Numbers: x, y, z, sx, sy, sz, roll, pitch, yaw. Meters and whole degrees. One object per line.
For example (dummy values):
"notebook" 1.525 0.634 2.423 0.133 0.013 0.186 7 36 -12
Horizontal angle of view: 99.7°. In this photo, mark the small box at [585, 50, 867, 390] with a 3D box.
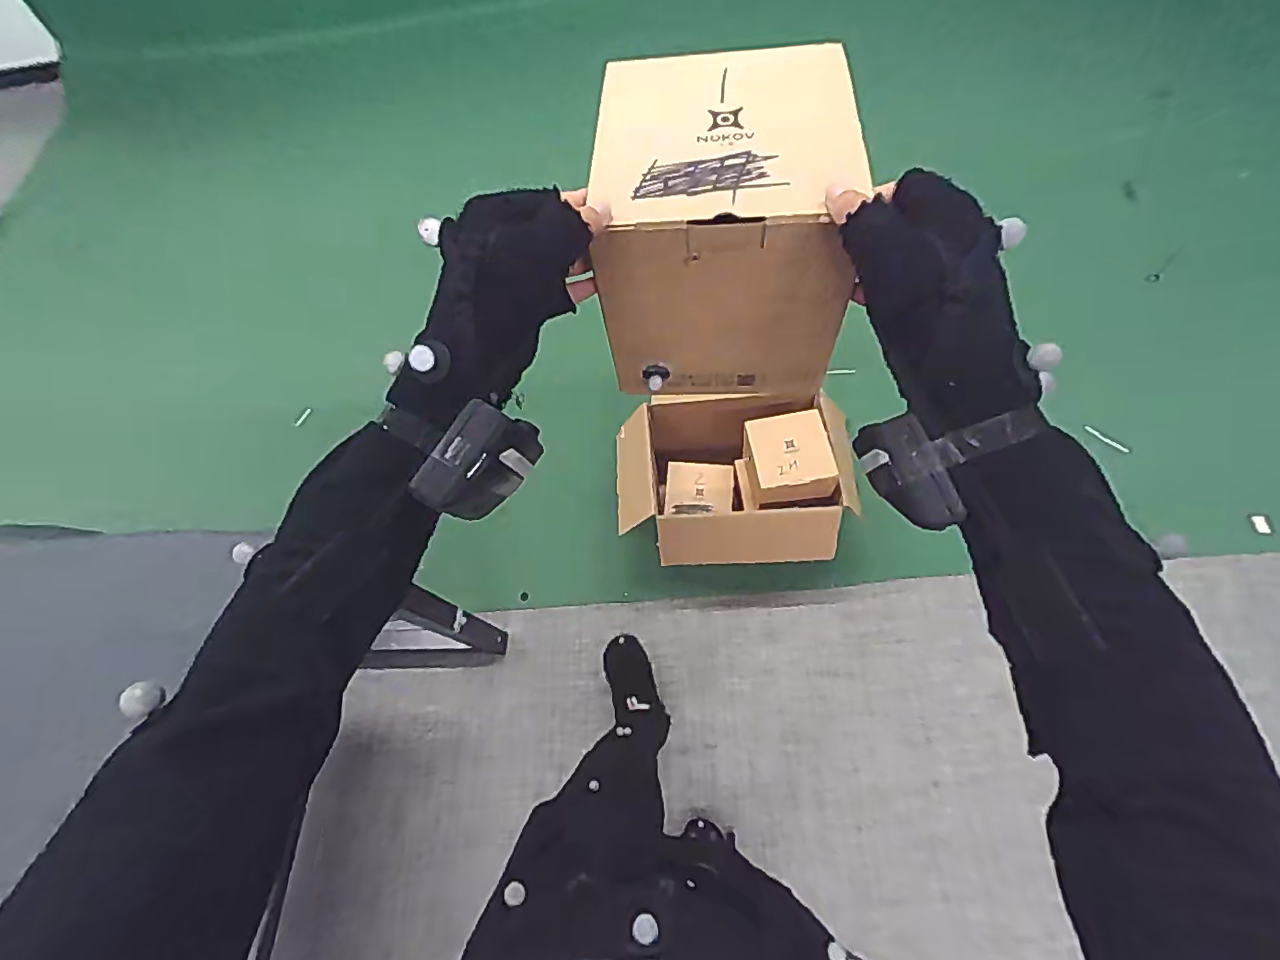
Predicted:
"small box" 0.062 -0.183 0.418 0.168 0.176 0.179 0 63 7
